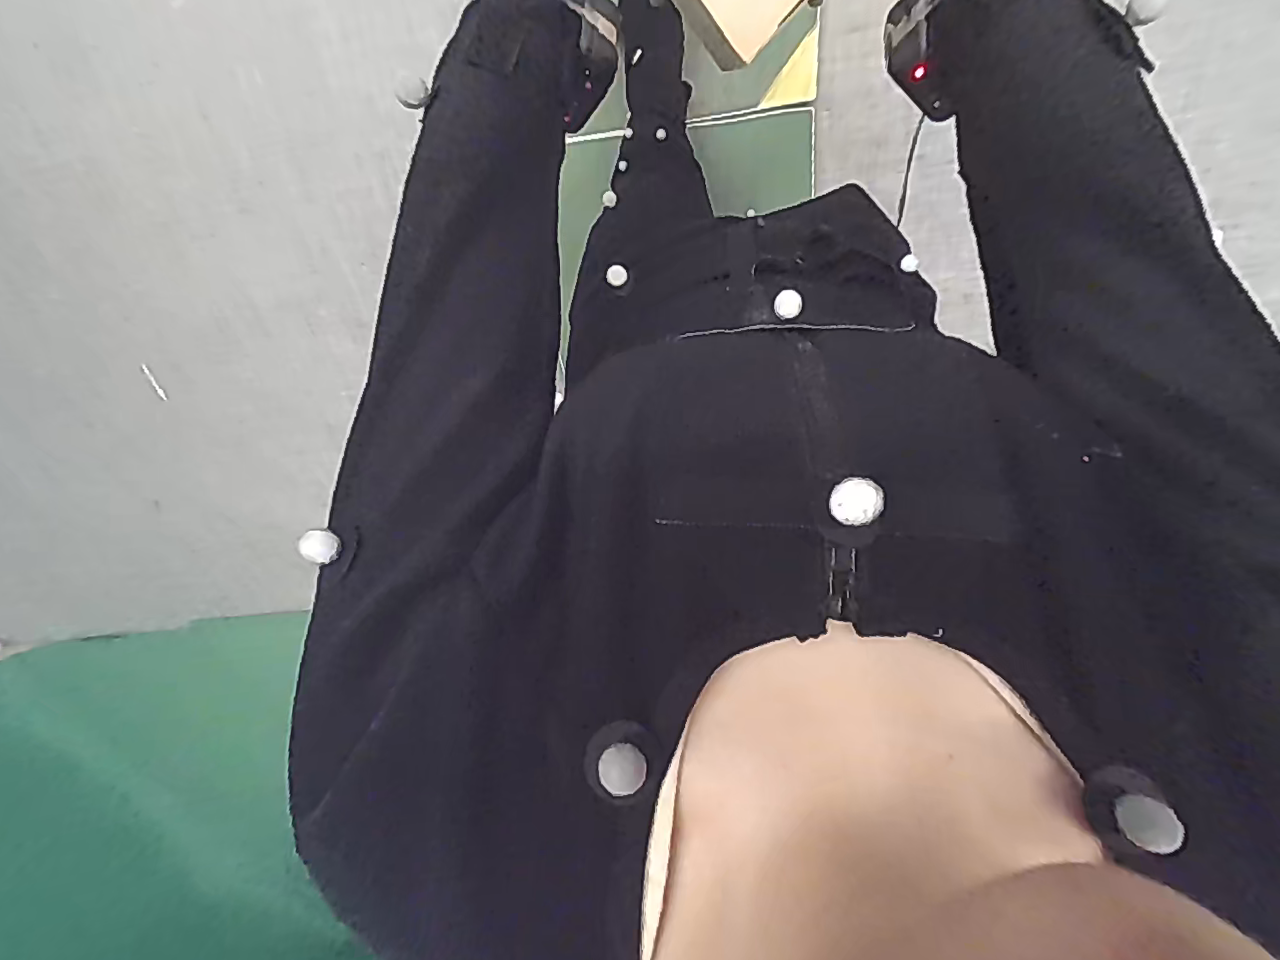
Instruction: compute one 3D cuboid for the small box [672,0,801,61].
[{"bbox_3d":[0.078,-0.462,0.406,0.168,0.176,0.179,-38,116,25],"label":"small box"}]
